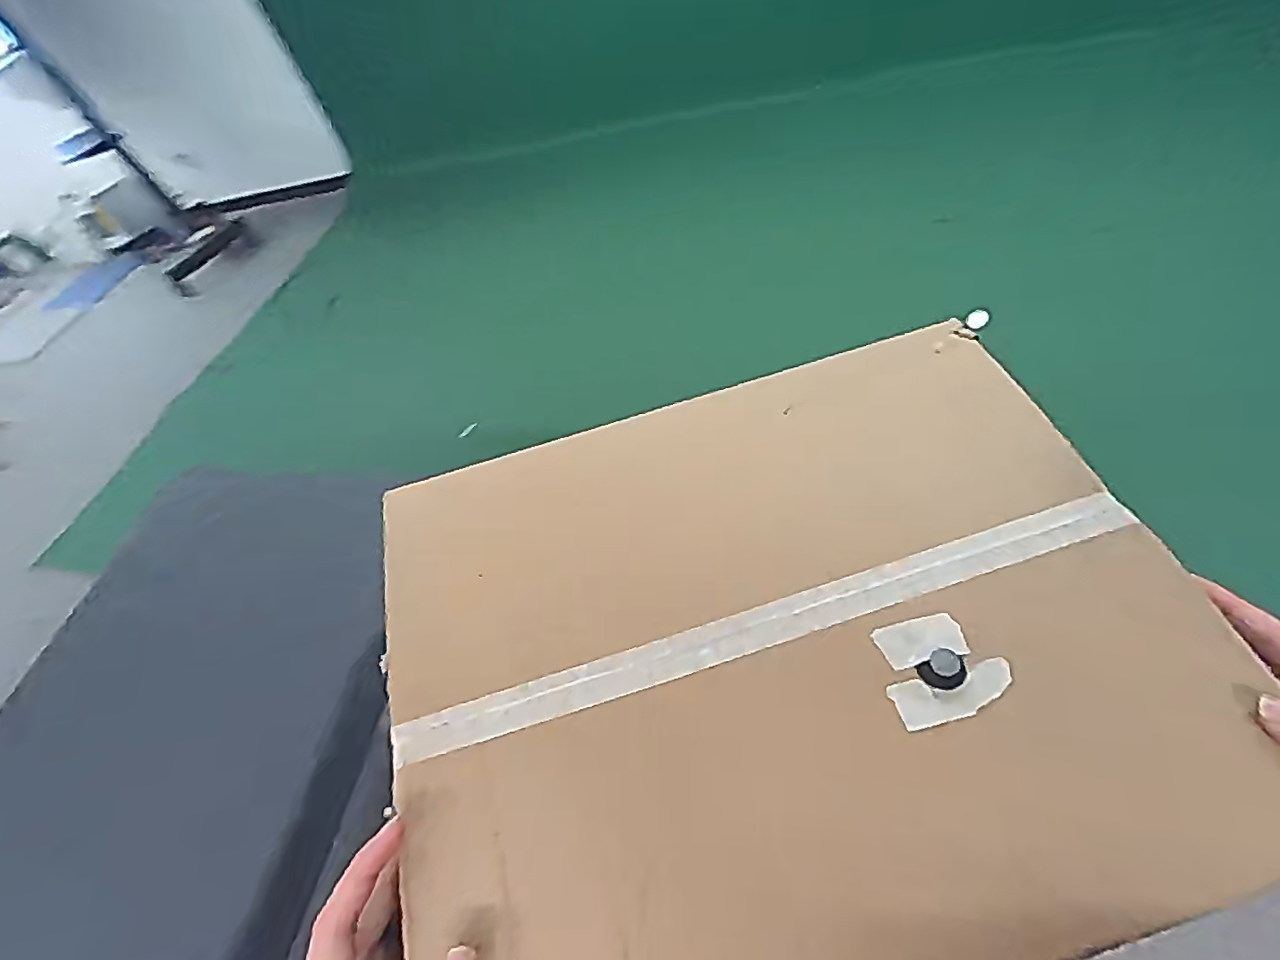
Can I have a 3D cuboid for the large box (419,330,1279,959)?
[{"bbox_3d":[0.094,0.147,0.427,0.408,0.320,0.320,-16,60,-3],"label":"large box"}]
